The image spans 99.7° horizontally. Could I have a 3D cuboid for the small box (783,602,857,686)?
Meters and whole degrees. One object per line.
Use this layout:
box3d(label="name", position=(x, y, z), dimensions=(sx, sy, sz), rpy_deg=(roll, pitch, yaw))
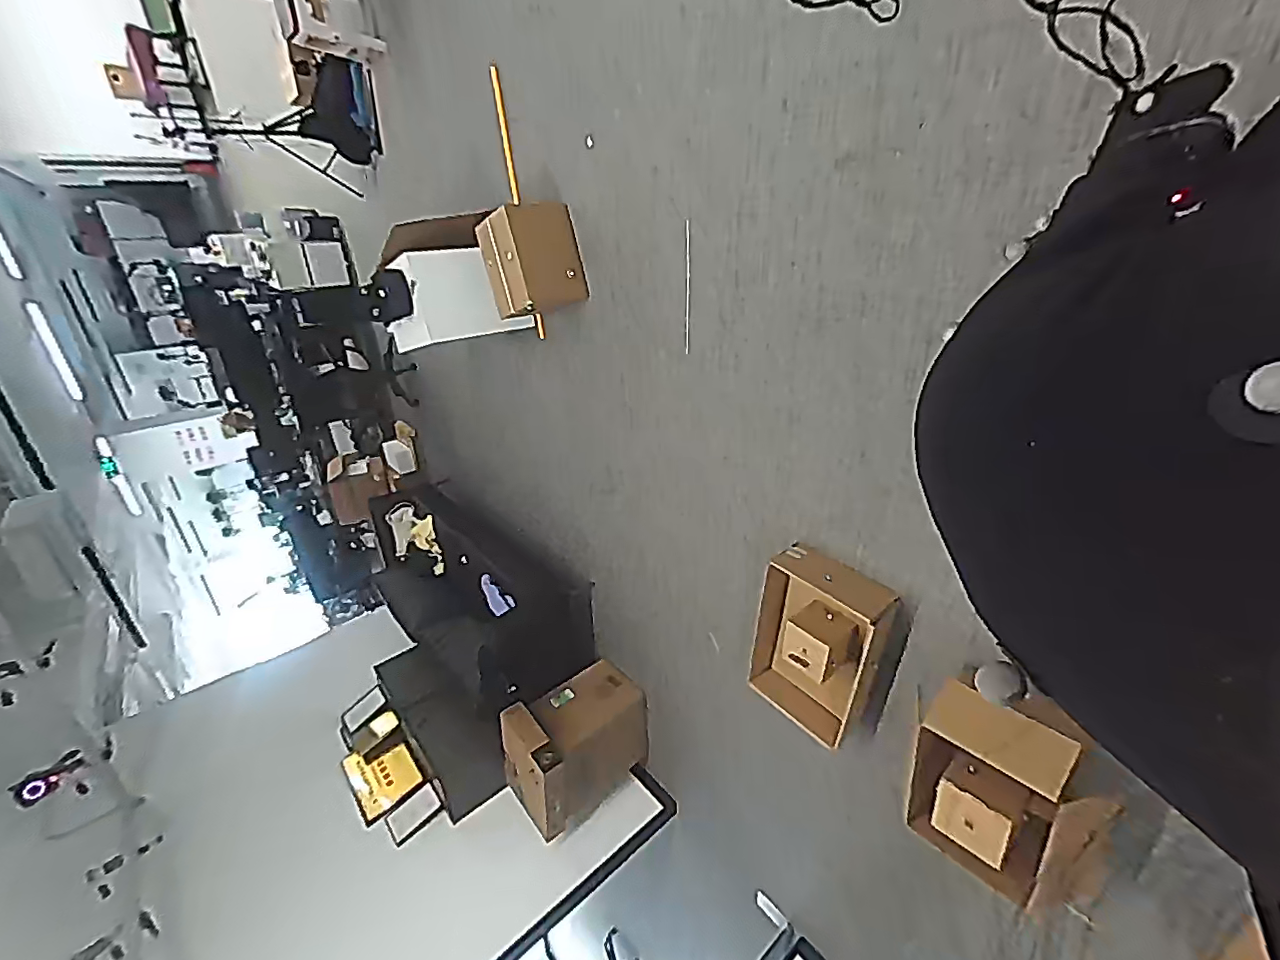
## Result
box3d(label="small box", position=(0.615, 0.553, 1.841), dimensions=(0.168, 0.176, 0.179), rpy_deg=(29, 130, 43))

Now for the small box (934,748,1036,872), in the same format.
box3d(label="small box", position=(0.890, 0.838, 1.395), dimensions=(0.168, 0.176, 0.179), rpy_deg=(21, 122, 47))
